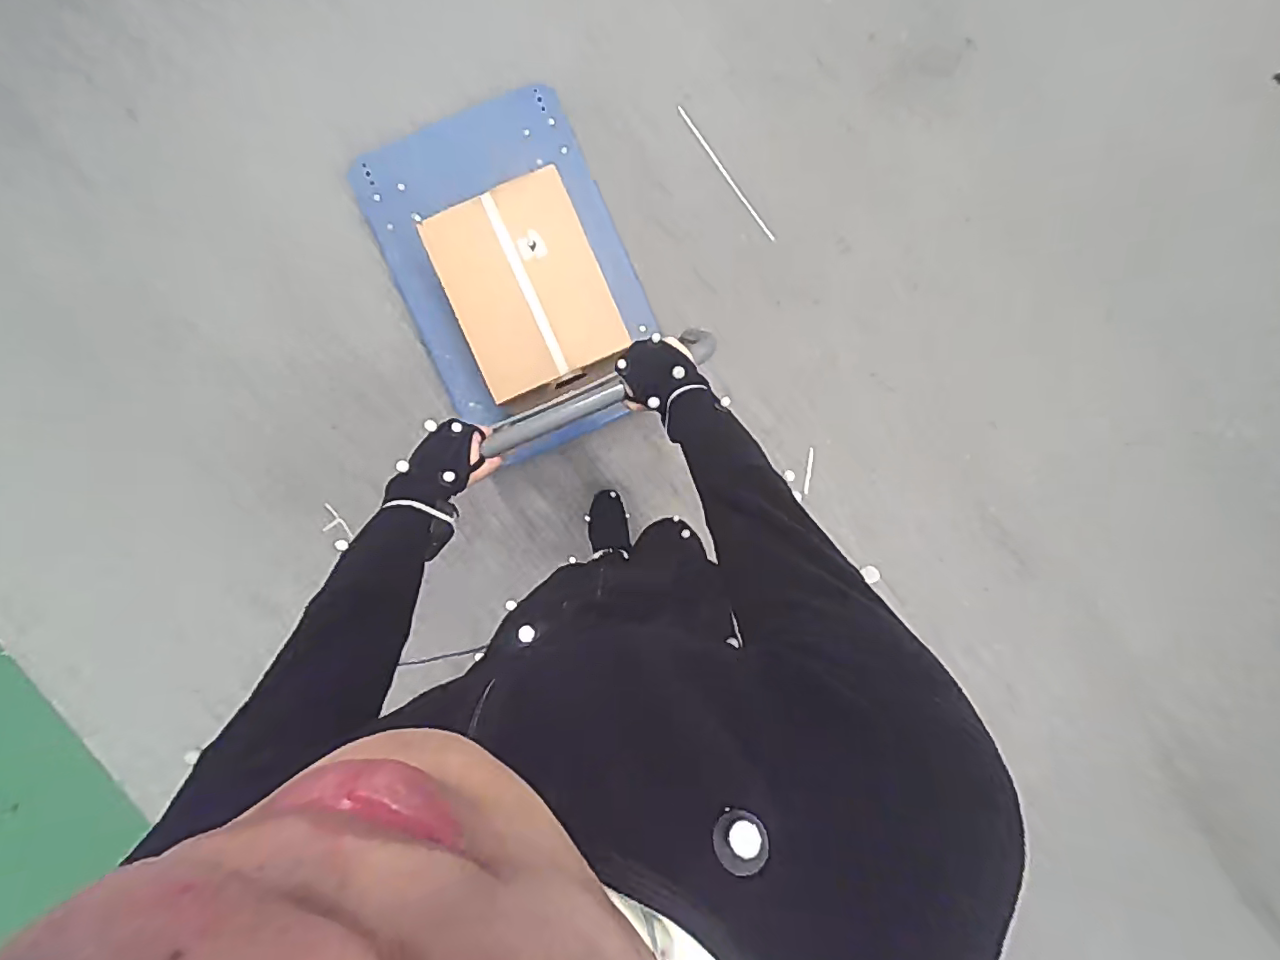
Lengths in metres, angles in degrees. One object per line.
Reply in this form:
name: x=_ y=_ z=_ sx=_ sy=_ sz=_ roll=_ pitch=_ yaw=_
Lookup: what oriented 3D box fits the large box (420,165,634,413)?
large box: x=-0.233 y=-0.409 z=1.261 sx=0.320 sy=0.320 sz=0.408 roll=-24 pitch=92 yaw=-1
